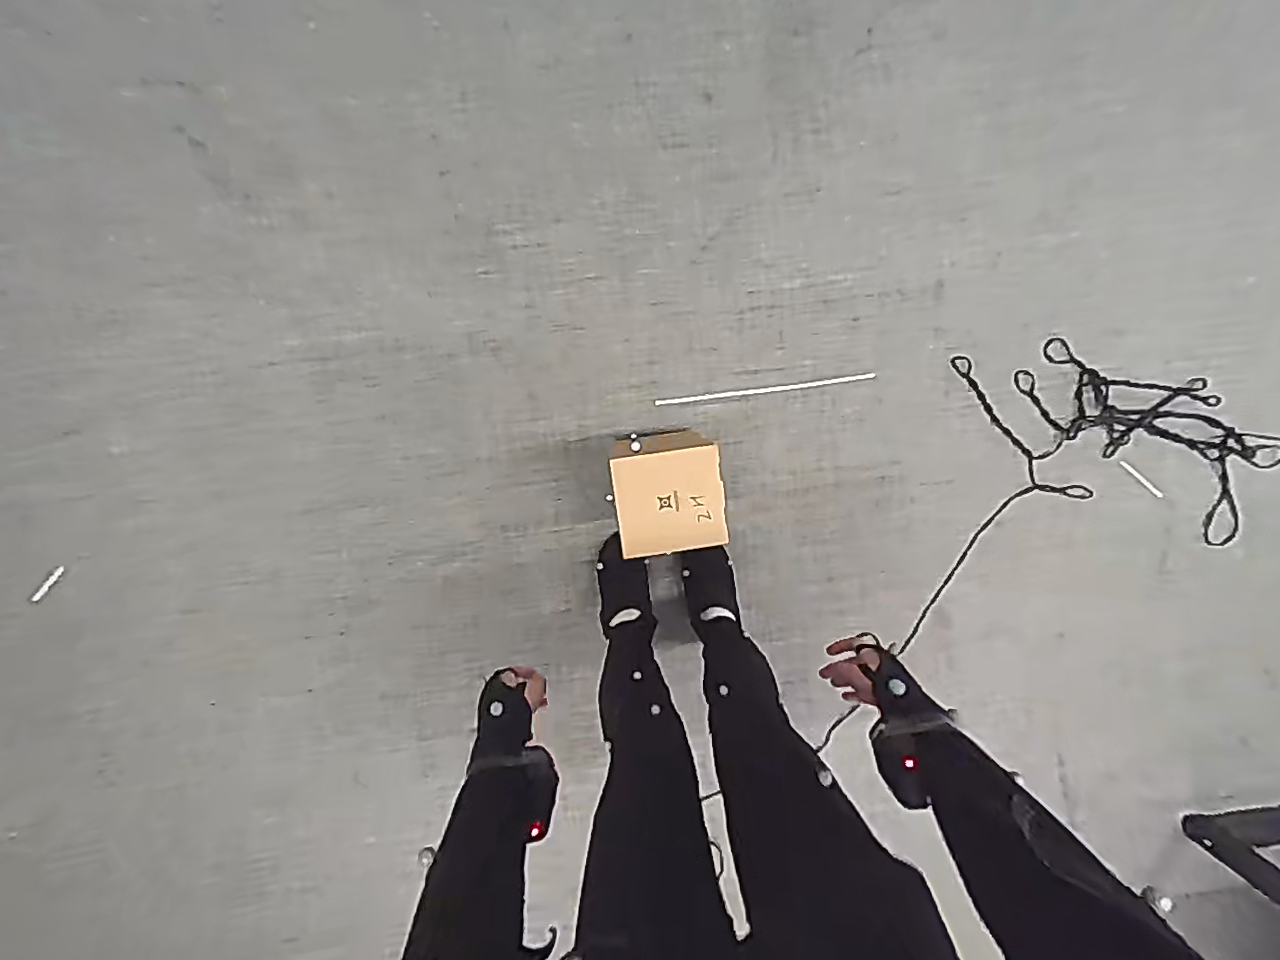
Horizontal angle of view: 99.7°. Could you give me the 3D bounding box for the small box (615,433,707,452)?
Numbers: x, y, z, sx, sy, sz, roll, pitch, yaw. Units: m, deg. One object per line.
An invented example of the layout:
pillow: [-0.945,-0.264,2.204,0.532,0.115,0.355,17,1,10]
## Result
small box: [0.046,-0.002,1.099,0.179,0.176,0.168,-9,99,-2]

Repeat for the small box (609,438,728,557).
small box: [0.044,0.023,0.936,0.179,0.176,0.168,-8,99,-2]
